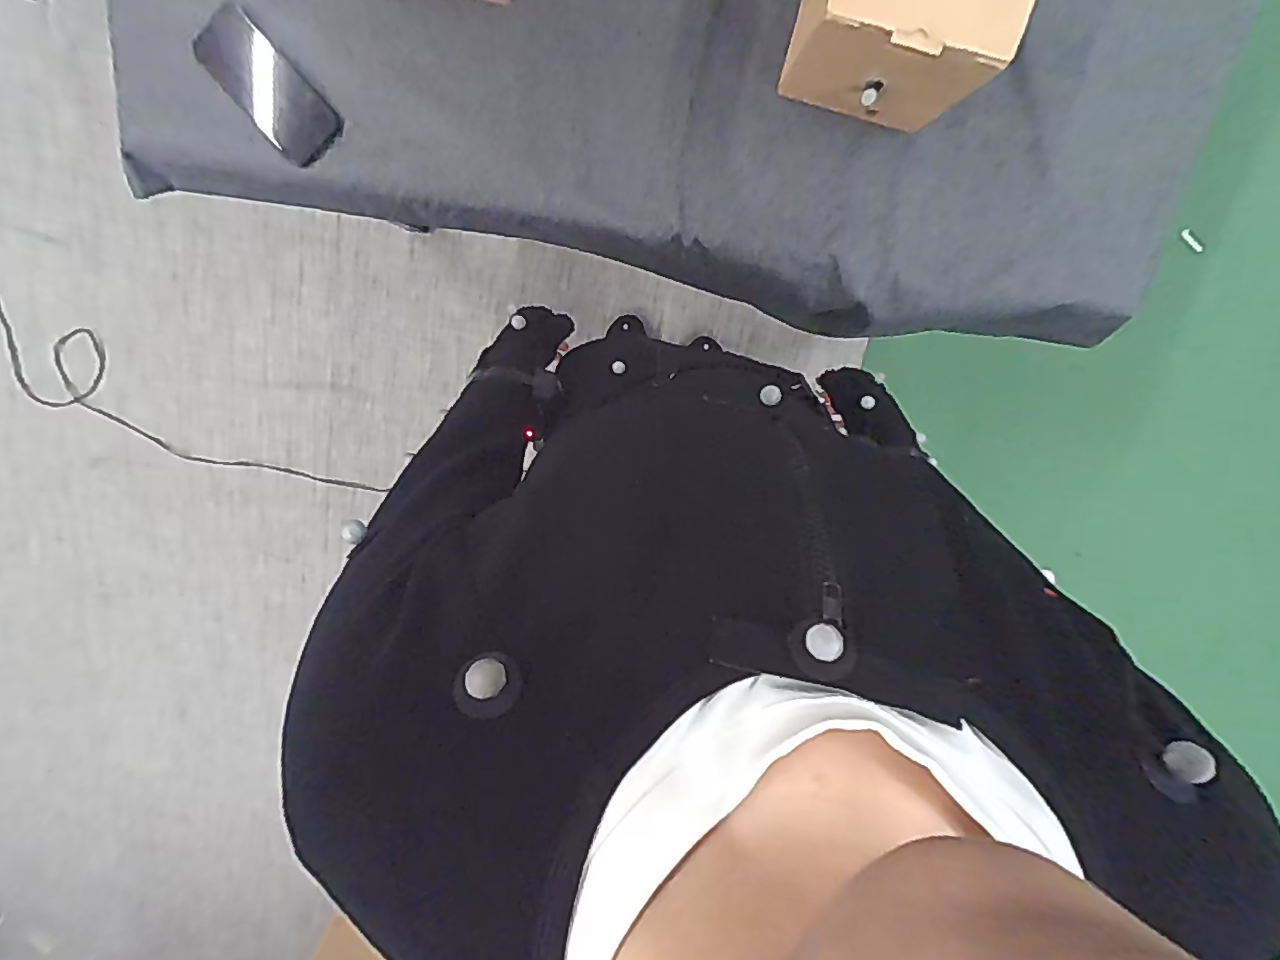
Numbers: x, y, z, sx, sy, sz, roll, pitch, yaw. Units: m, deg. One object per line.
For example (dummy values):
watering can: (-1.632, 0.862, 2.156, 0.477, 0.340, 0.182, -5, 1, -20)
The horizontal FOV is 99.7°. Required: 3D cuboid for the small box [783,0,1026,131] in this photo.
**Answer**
small box: (0.247, -0.464, 0.508, 0.168, 0.176, 0.179, 13, 106, -3)
